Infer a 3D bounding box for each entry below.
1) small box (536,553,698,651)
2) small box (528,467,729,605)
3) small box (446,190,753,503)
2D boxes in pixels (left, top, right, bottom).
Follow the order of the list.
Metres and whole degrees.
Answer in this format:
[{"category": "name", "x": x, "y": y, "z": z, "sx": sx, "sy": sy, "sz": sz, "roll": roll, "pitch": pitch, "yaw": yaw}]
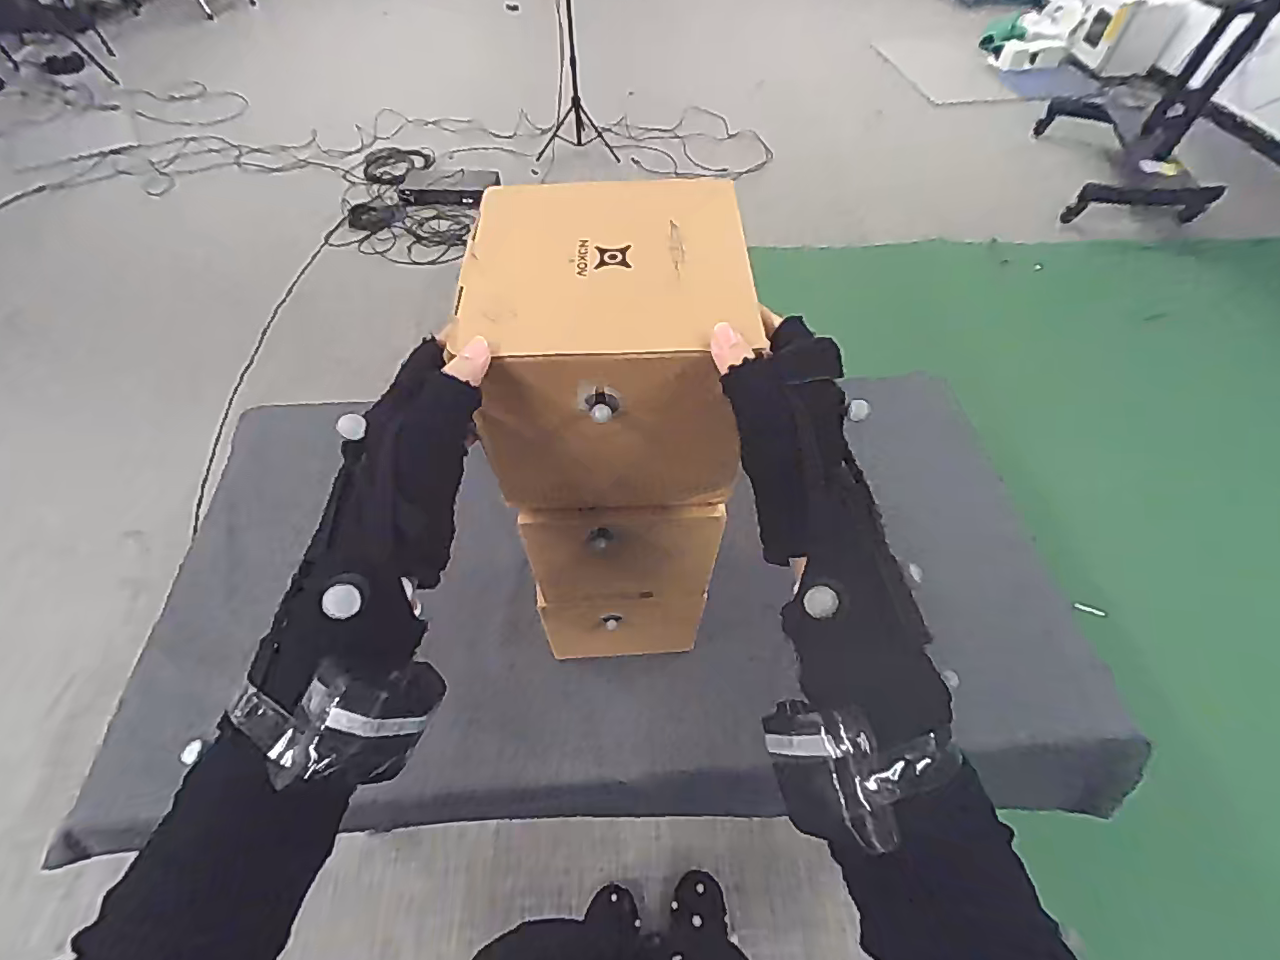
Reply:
[{"category": "small box", "x": -0.027, "y": 0.106, "z": 0.676, "sx": 0.179, "sy": 0.176, "sz": 0.168, "roll": -2, "pitch": 54, "yaw": -3}, {"category": "small box", "x": -0.019, "y": 0.009, "z": 0.547, "sx": 0.168, "sy": 0.176, "sz": 0.179, "roll": -3, "pitch": 55, "yaw": -5}, {"category": "small box", "x": -0.023, "y": -0.092, "z": 0.410, "sx": 0.179, "sy": 0.176, "sz": 0.168, "roll": -1, "pitch": 57, "yaw": -1}]
